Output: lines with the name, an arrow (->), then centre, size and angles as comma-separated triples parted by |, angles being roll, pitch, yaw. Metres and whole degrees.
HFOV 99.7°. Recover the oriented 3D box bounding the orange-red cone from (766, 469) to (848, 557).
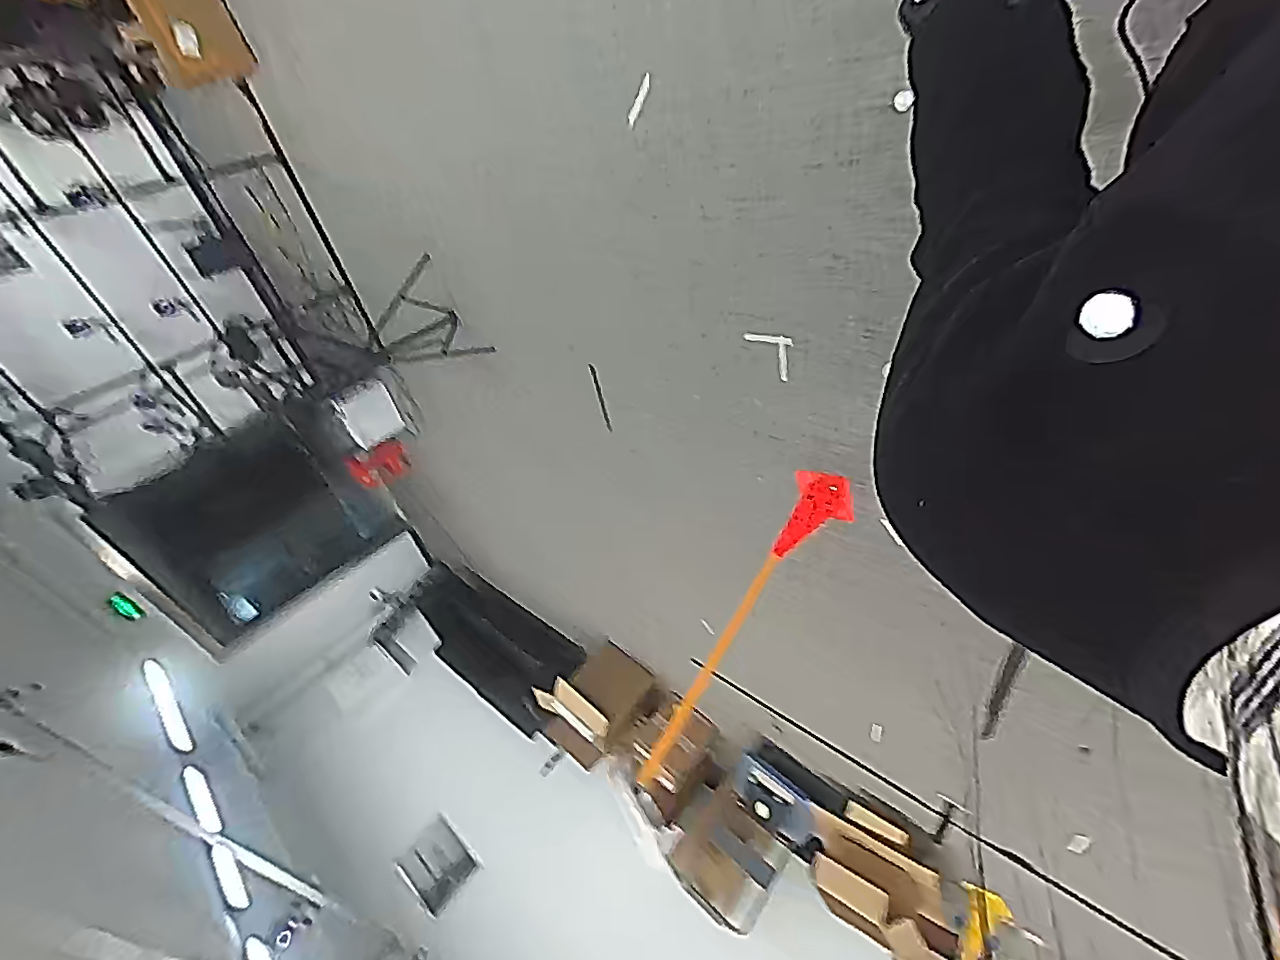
orange-red cone -> 0.549, 0.148, 1.891 | 0.199, 0.360, 0.198 | 16, 136, 45
